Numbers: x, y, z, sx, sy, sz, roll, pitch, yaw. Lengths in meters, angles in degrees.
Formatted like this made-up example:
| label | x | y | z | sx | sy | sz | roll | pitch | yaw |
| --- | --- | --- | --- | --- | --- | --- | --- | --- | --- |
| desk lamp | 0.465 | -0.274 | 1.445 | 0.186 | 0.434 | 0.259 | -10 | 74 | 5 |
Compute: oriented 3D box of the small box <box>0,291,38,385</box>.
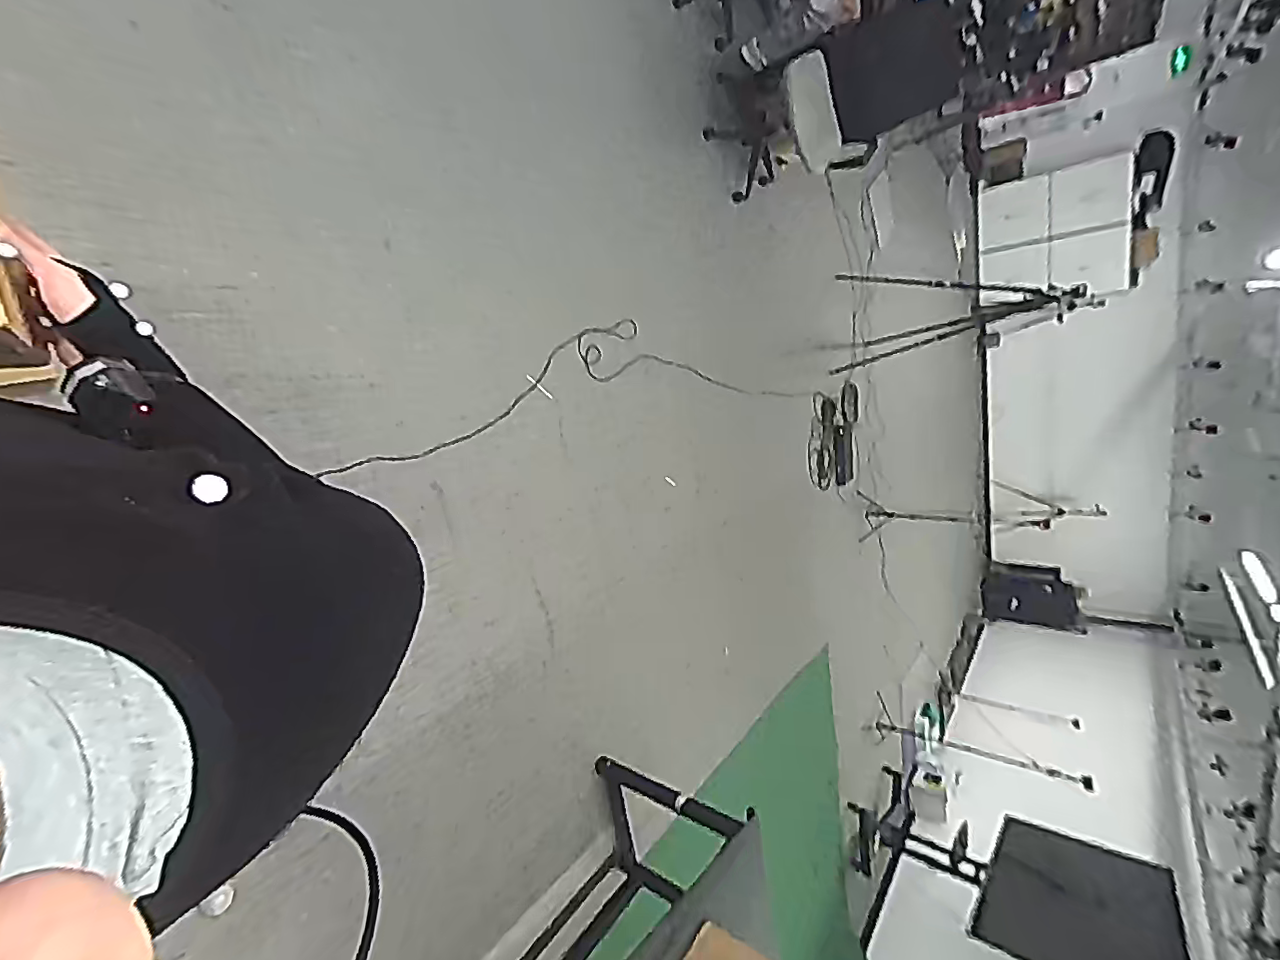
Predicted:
| label | x | y | z | sx | sy | sz | roll | pitch | yaw |
| --- | --- | --- | --- | --- | --- | --- | --- | --- | --- |
| small box | -1.086 | -0.231 | 0.831 | 0.168 | 0.176 | 0.179 | -28 | 113 | -45 |
